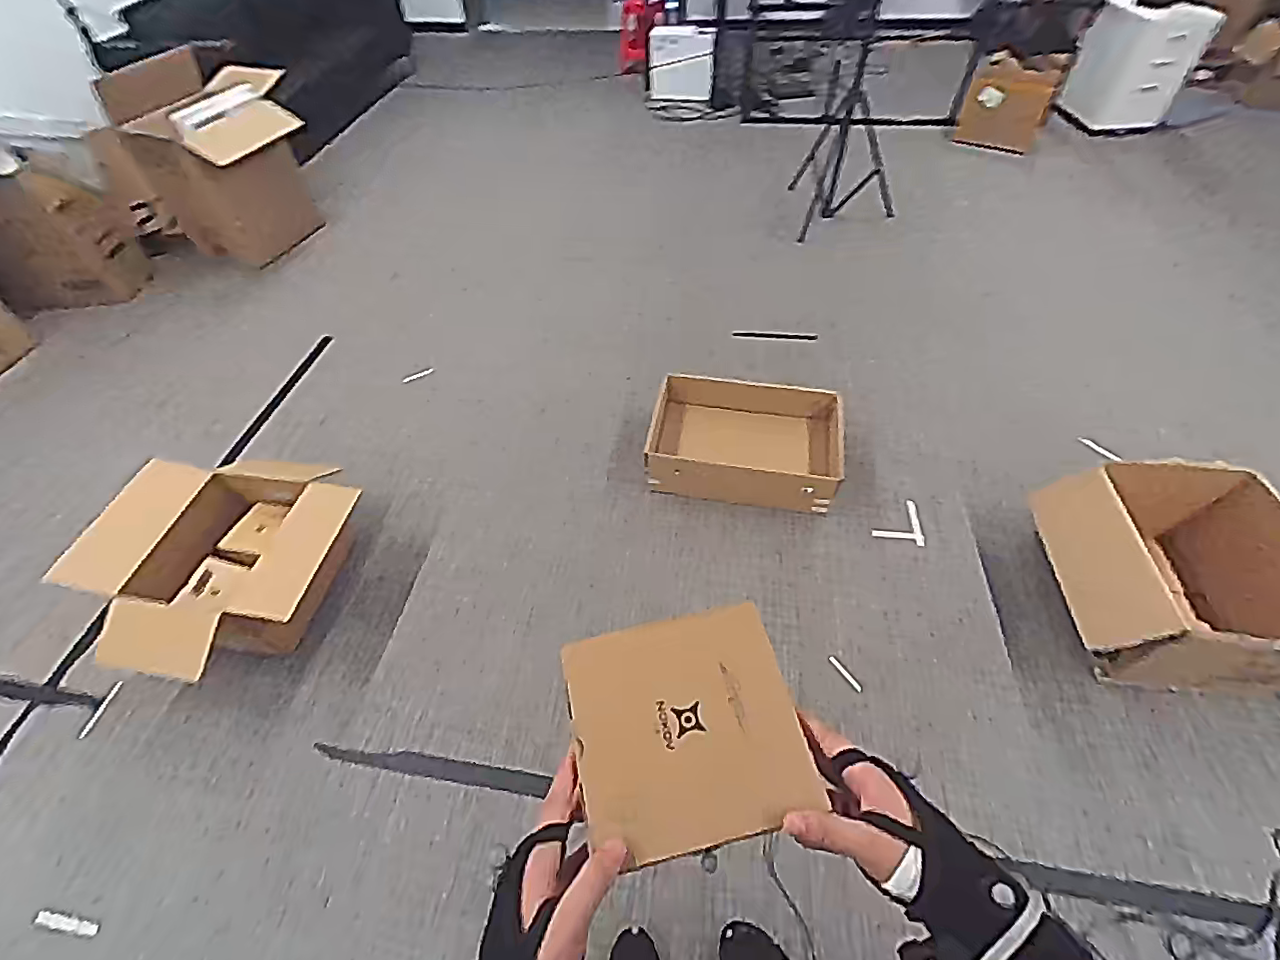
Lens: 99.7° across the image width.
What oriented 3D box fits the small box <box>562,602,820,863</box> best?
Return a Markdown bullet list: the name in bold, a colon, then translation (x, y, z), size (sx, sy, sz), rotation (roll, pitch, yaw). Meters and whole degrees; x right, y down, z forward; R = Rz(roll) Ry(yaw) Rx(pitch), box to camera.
- **small box**: translation (0.035, 0.235, 0.496), size (0.179, 0.176, 0.168), rotation (-11, 56, -7)
